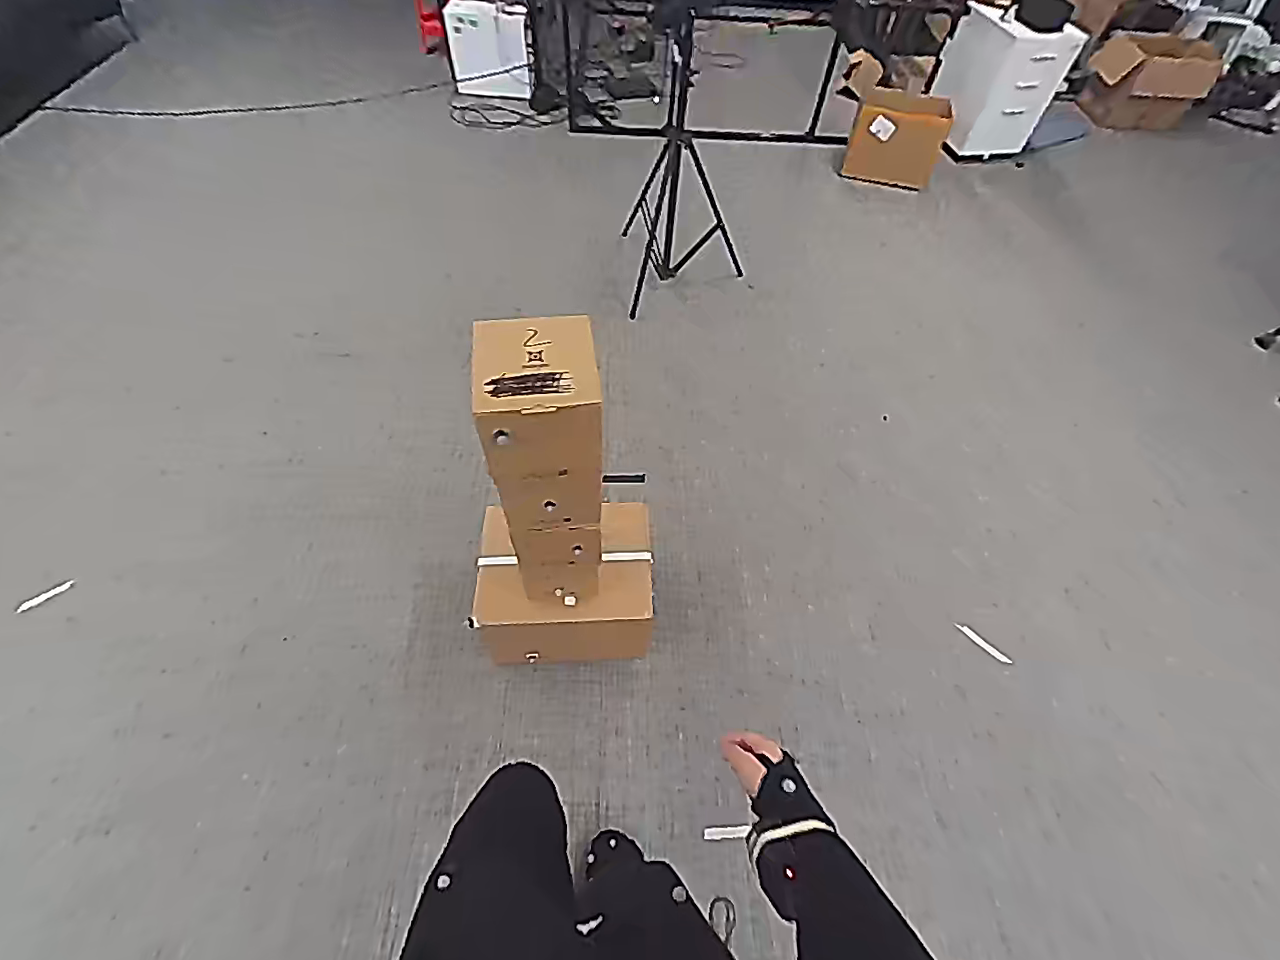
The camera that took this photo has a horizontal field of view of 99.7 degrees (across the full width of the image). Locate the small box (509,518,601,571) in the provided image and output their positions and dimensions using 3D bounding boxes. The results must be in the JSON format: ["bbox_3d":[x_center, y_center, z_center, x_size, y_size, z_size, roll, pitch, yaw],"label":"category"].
[{"bbox_3d":[-0.163,0.074,1.076,0.168,0.176,0.179,-2,55,-6],"label":"small box"}]

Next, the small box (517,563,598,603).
[{"bbox_3d":[-0.177,0.161,1.213,0.168,0.176,0.179,-1,57,-4],"label":"small box"}]

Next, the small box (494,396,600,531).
[{"bbox_3d":[-0.158,-0.022,0.942,0.168,0.176,0.179,-5,57,-9],"label":"small box"}]
